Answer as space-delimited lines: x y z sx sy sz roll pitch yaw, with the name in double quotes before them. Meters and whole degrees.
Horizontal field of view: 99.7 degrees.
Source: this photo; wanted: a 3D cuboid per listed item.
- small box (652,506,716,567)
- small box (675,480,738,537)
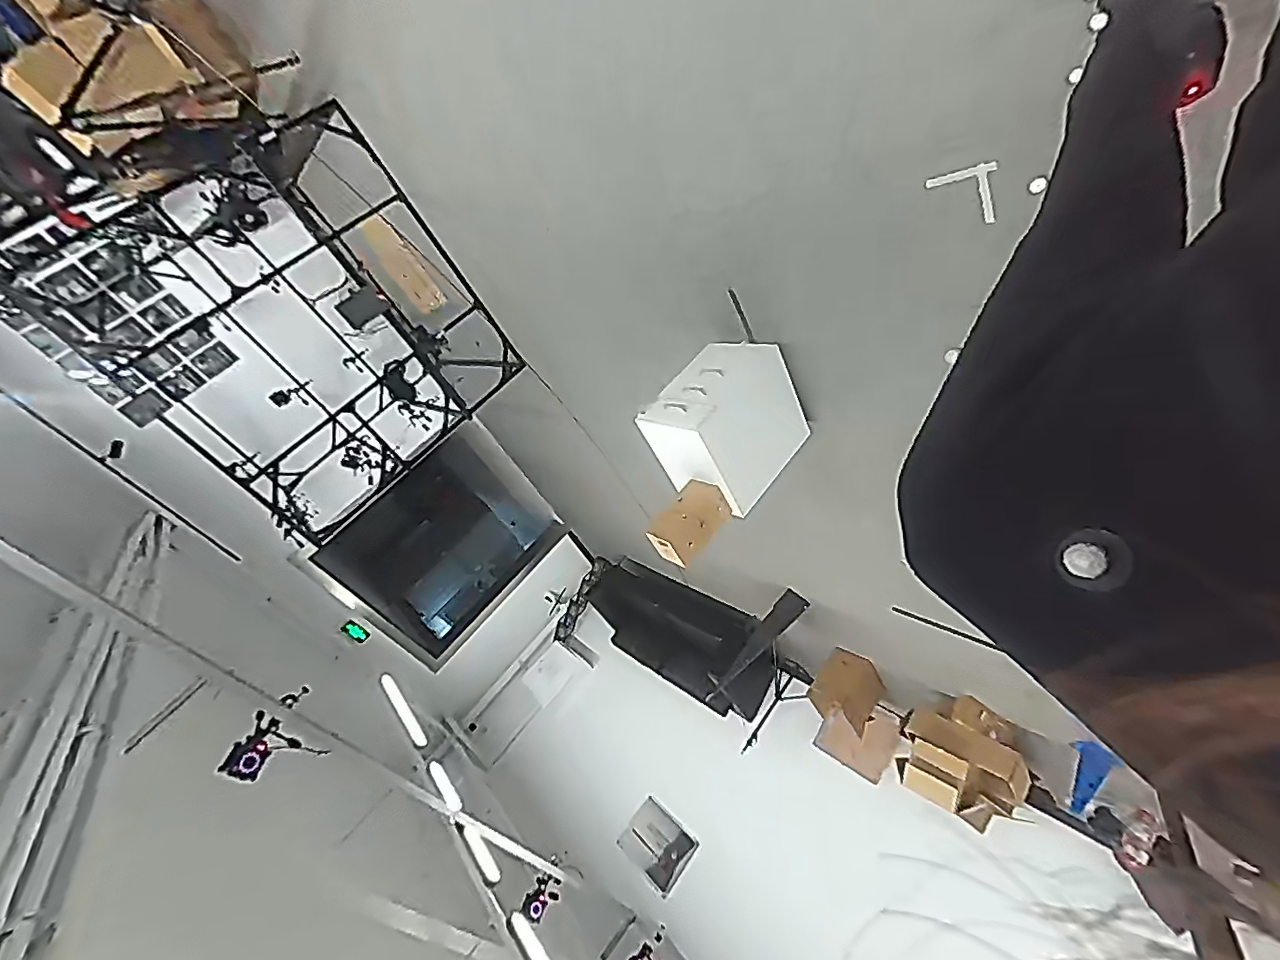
"small box" 0.190 0.234 2.301 0.168 0.176 0.179 19 150 51
"small box" 0.293 0.118 2.358 0.179 0.176 0.168 18 149 51
